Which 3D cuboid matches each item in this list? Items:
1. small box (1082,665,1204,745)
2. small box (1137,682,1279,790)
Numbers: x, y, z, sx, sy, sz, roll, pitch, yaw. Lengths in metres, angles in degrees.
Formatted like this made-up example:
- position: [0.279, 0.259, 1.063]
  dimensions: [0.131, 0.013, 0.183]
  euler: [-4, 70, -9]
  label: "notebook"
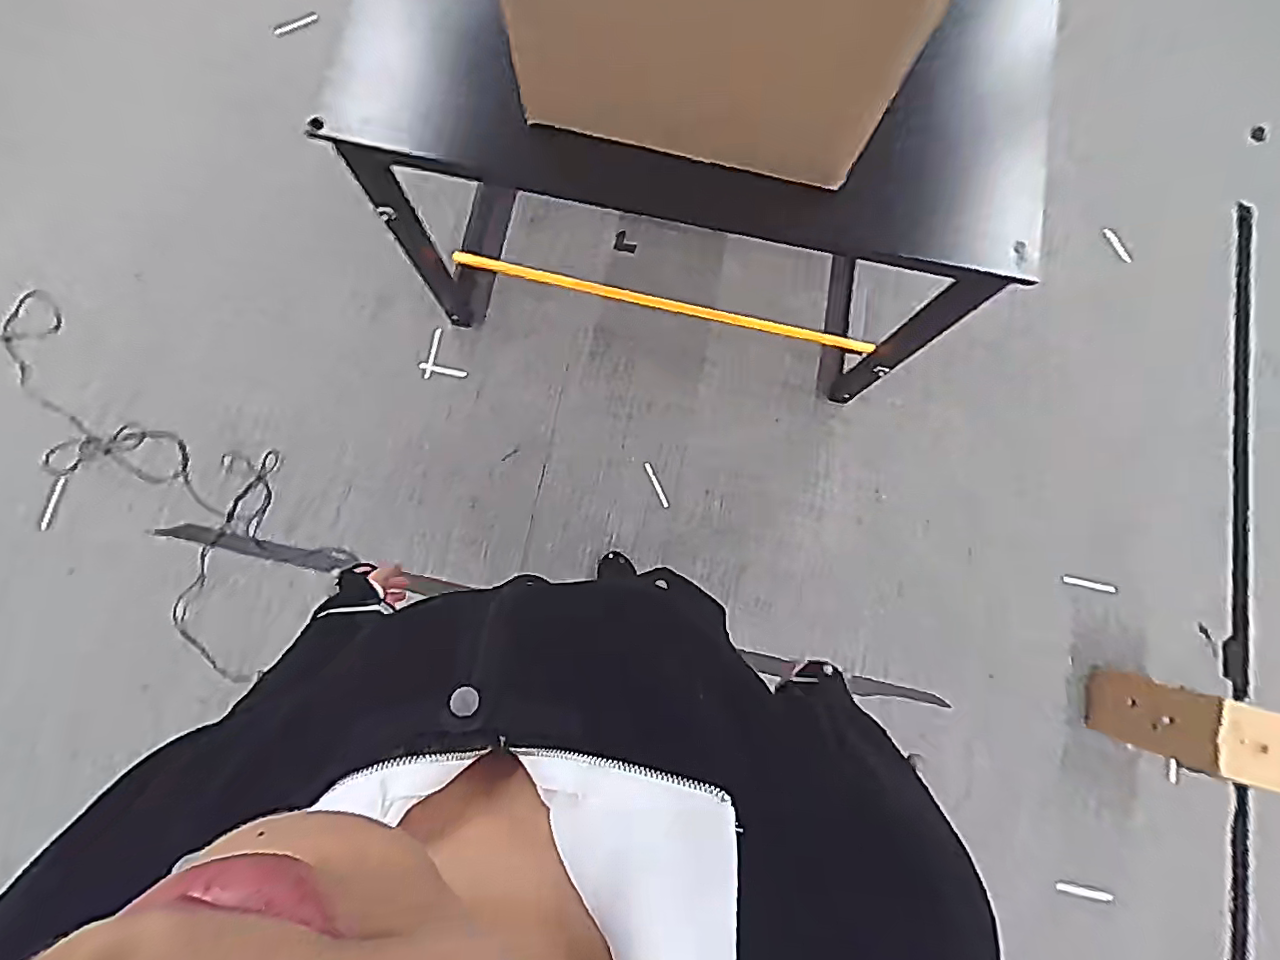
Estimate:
- position: [1.319, 0.604, 1.425]
  dimensions: [0.168, 0.176, 0.179]
  euler: [15, 82, 0]
  label: "small box"
- position: [1.330, 0.587, 1.261]
  dimensions: [0.179, 0.176, 0.168]
  euler: [15, 81, 0]
  label: "small box"
